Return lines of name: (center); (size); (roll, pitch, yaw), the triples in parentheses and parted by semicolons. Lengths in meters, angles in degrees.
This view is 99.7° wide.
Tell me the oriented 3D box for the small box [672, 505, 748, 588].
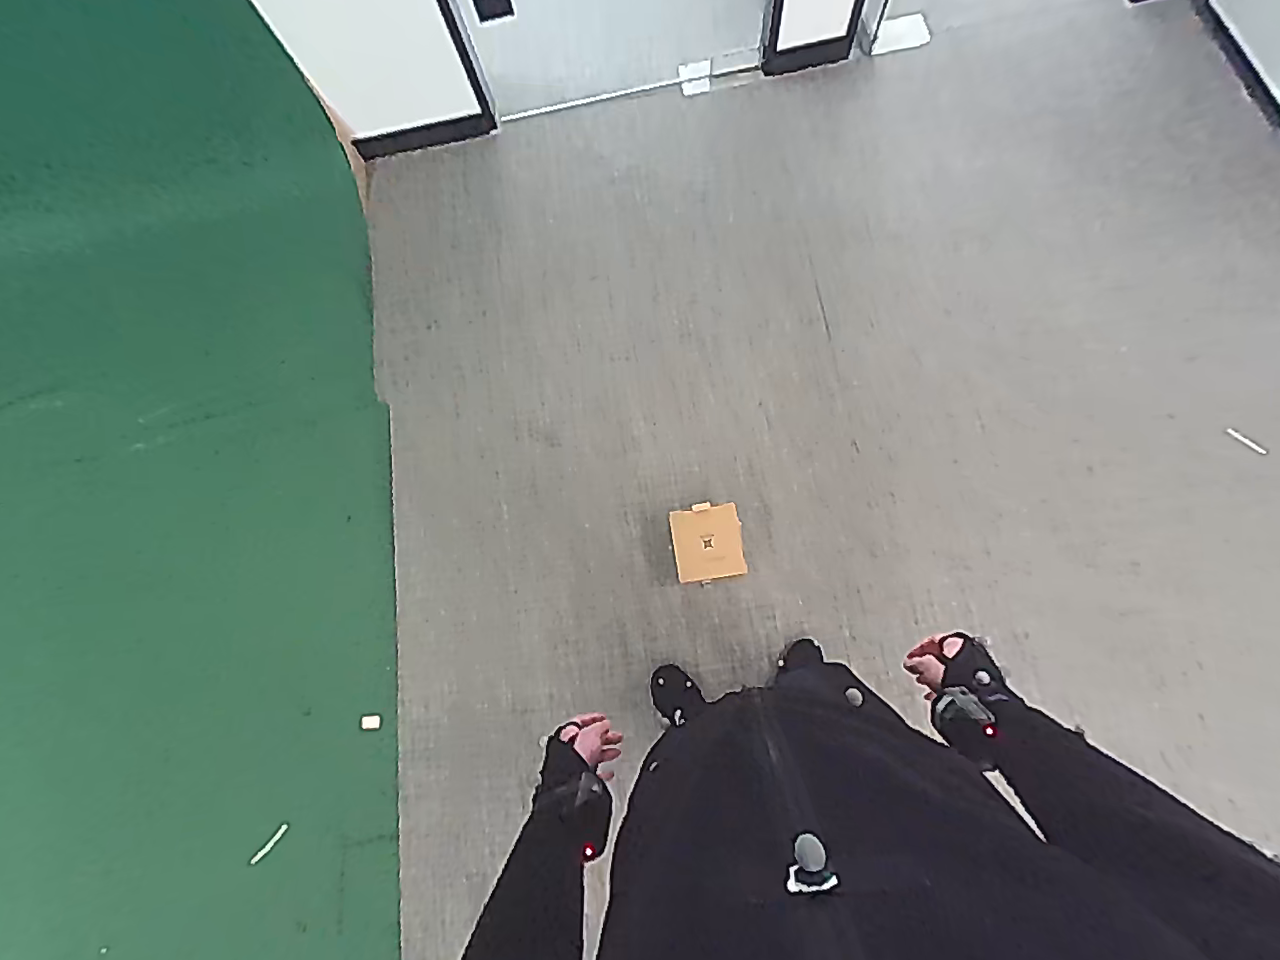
small box: (0.173, 0.173, 1.362); (0.168, 0.176, 0.179); (-8, 75, 6)
